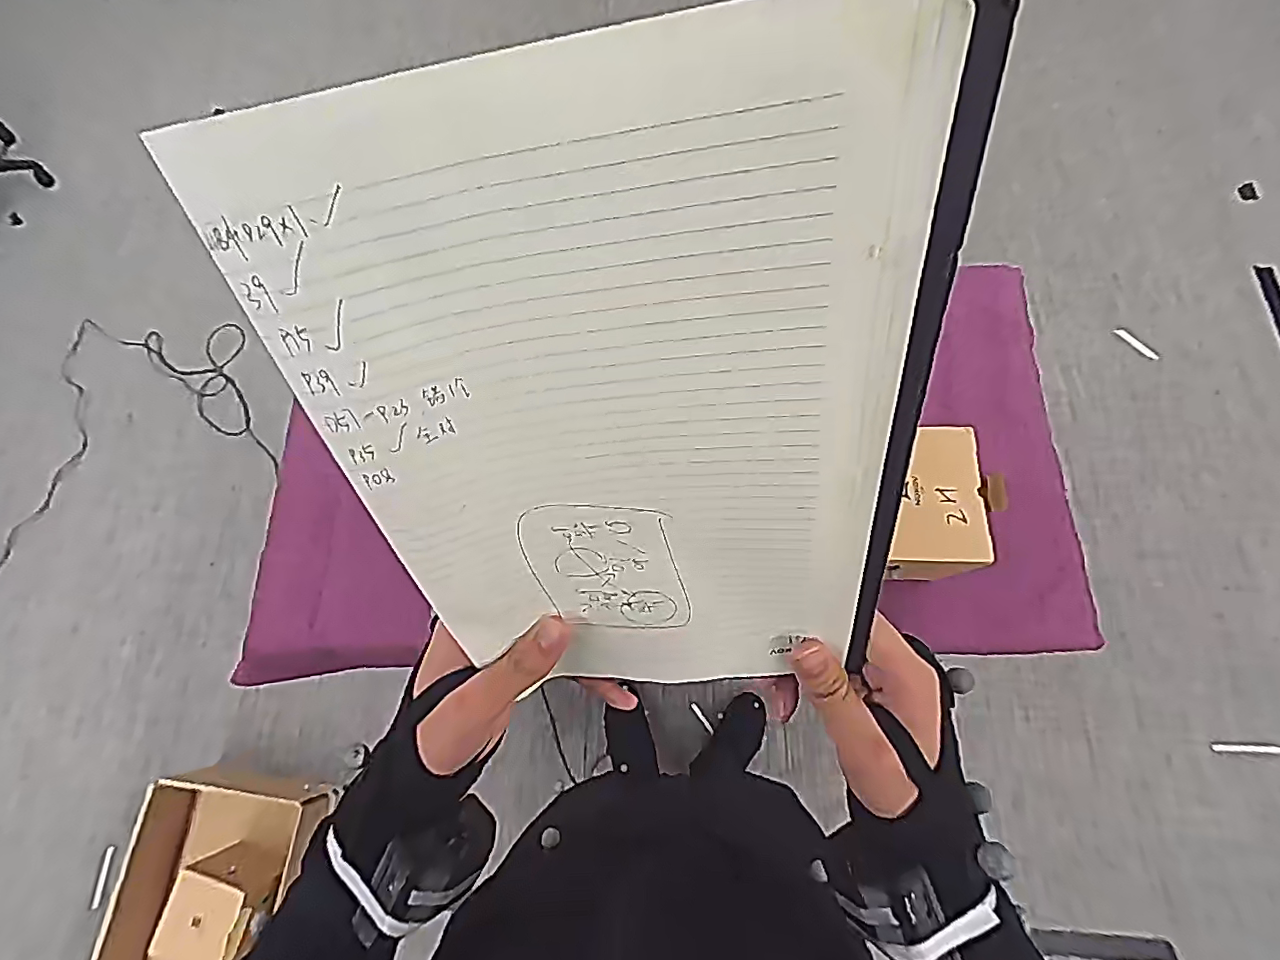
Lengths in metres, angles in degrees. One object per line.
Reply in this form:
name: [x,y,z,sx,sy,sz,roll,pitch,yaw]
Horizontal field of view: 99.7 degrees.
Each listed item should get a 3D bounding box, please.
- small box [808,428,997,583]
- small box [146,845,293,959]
small box: [0.320,0.041,0.703,0.179,0.176,0.168,1,73,5]
small box: [-0.954,0.978,1.245,0.179,0.176,0.168,13,75,9]
